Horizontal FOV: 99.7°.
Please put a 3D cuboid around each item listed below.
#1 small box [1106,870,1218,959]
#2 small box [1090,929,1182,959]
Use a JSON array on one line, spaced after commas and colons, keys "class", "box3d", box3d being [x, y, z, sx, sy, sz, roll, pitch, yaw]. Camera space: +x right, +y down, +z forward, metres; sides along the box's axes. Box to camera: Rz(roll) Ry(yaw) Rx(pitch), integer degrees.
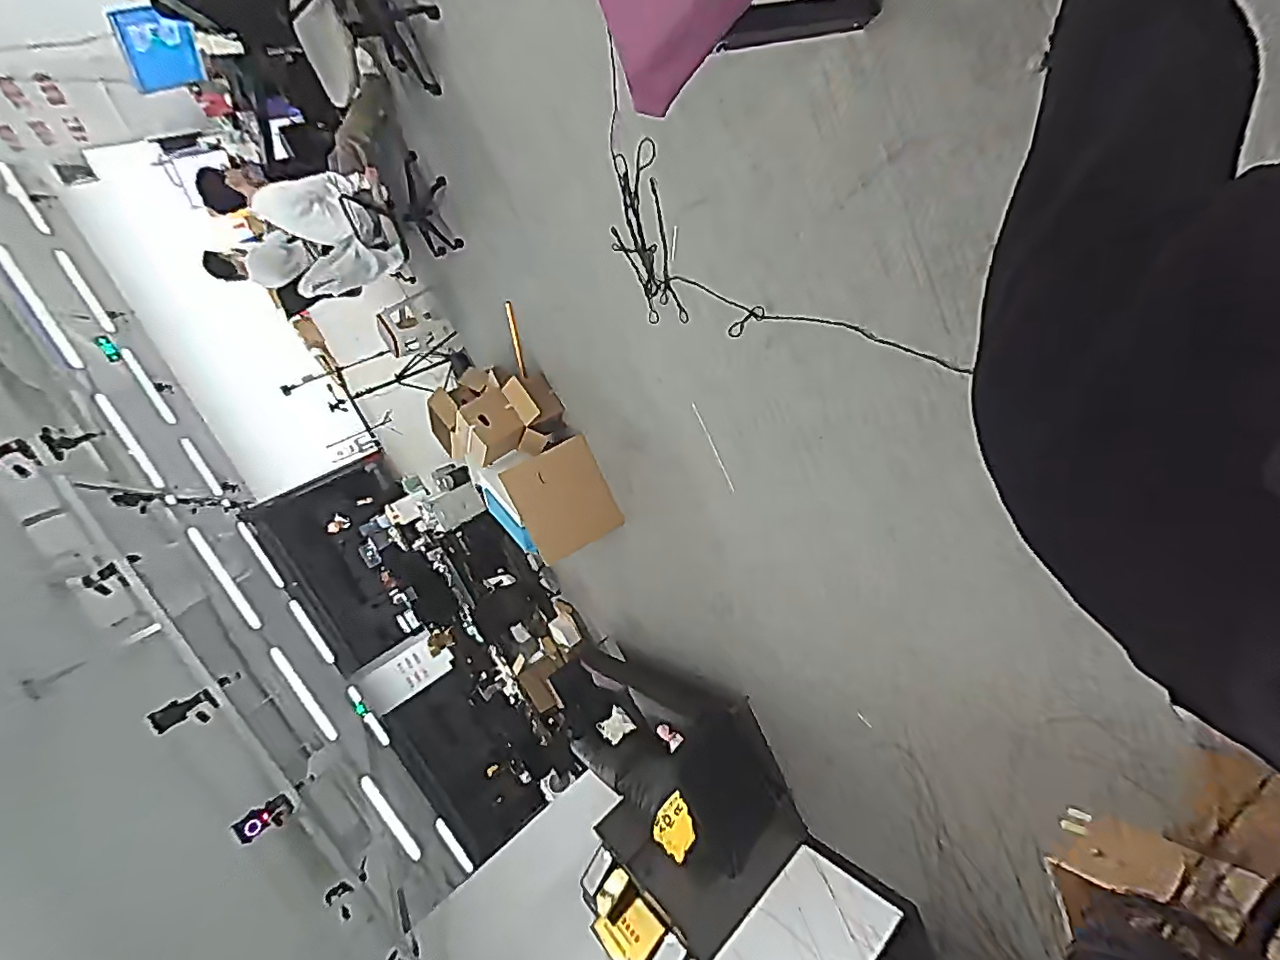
[{"class": "small box", "box3d": [1.241, 1.094, 1.291, 0.168, 0.176, 0.179, 12, 127, 53]}, {"class": "small box", "box3d": [1.122, 1.150, 1.188, 0.168, 0.176, 0.179, 60, 150, -7]}]
